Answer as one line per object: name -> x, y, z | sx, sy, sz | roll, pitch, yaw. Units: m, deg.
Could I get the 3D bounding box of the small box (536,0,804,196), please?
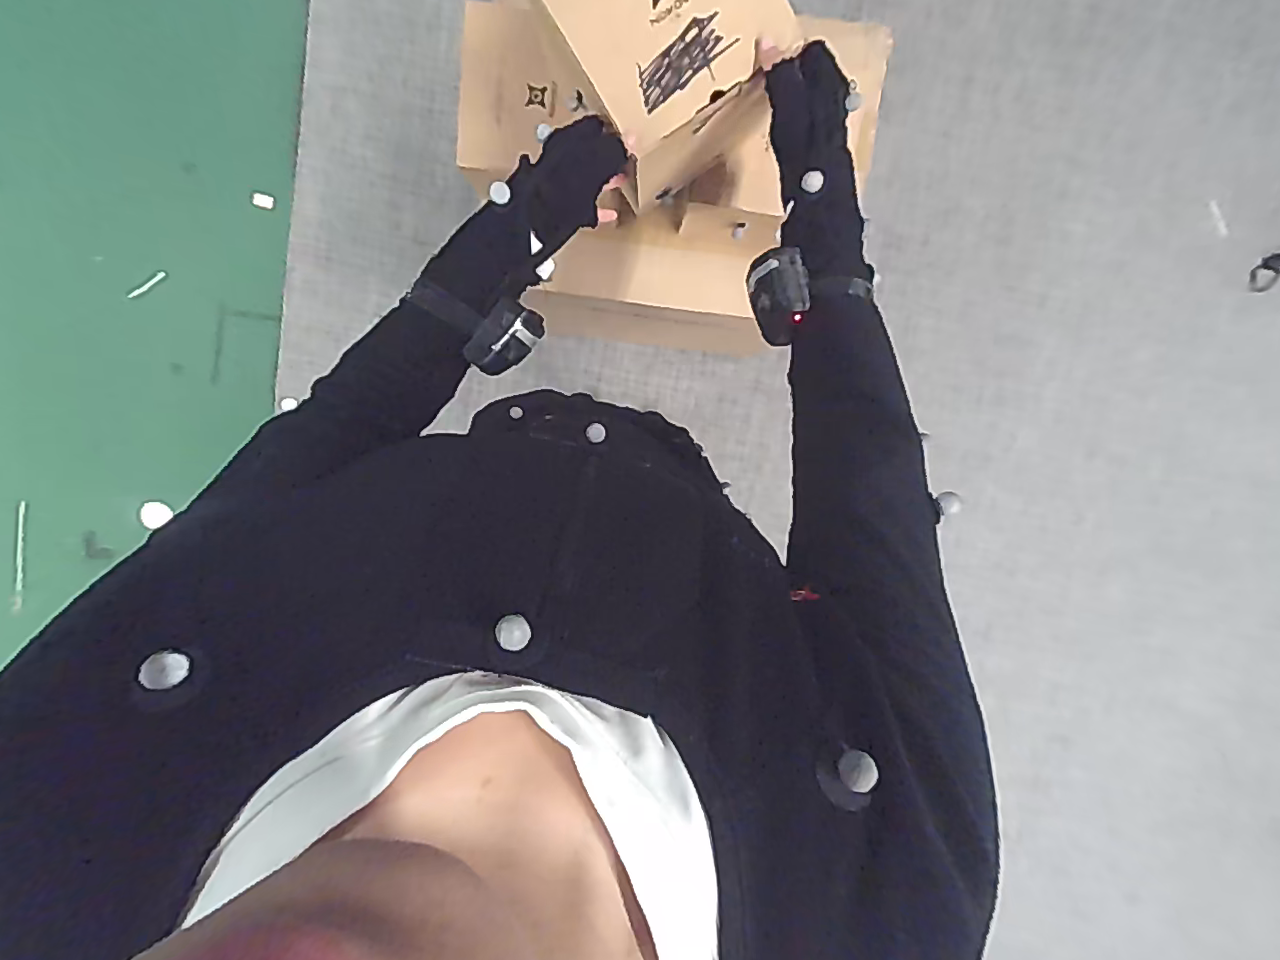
small box -> 0.023, -0.401, 0.511 | 0.168, 0.176, 0.179 | -32, 98, 6

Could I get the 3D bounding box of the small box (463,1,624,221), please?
small box -> -0.104, -0.436, 0.671 | 0.179, 0.176, 0.168 | 6, 100, 0
